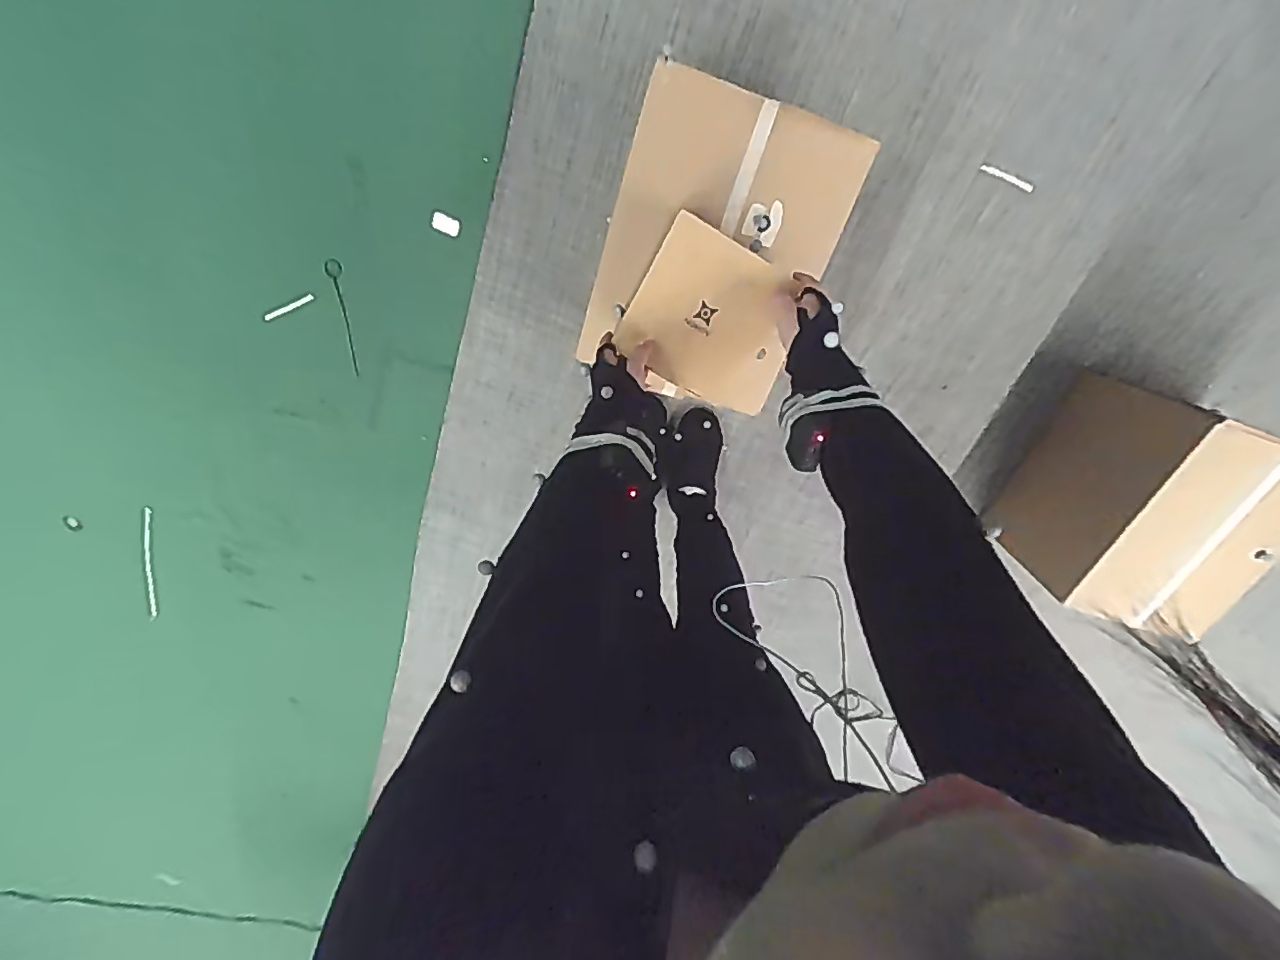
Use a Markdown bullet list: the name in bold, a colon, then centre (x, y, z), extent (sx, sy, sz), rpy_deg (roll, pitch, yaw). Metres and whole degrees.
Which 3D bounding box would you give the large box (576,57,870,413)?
- **large box**: centre (0.105, -0.381, 0.908), extent (0.320, 0.320, 0.408), rpy_deg (17, 115, -7)

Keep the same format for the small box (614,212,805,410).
- **small box**: centre (0.079, -0.227, 0.705), extent (0.168, 0.176, 0.179), rpy_deg (26, 117, -12)
